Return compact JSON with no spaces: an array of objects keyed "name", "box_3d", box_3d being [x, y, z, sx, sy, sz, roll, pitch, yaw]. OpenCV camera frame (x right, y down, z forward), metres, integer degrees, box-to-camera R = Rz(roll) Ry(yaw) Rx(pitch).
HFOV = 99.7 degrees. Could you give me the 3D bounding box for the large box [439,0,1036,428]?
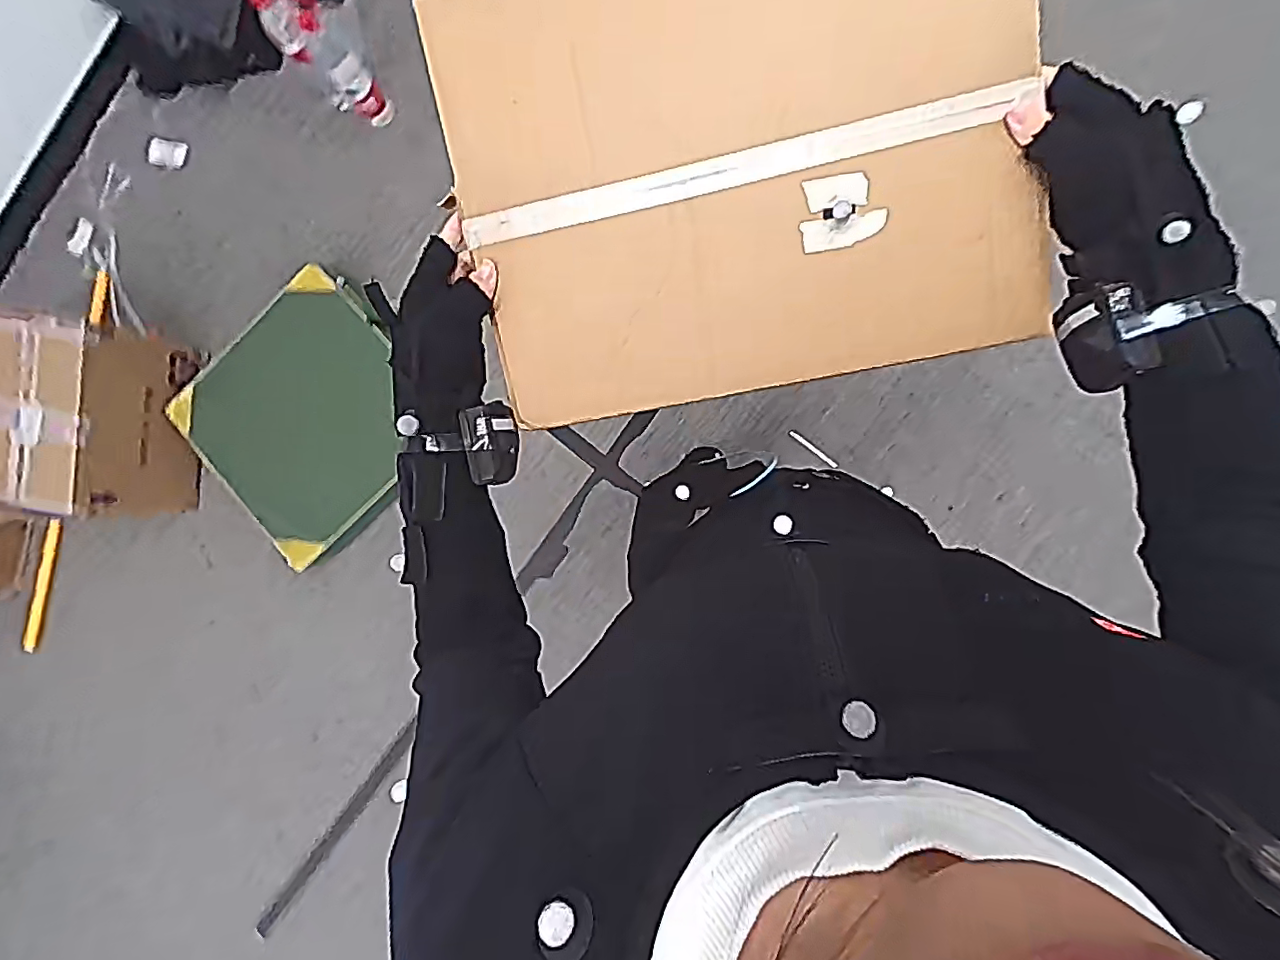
[{"name":"large box","box_3d":[0.085,-0.255,0.544,0.408,0.320,0.320,-10,102,7]}]
